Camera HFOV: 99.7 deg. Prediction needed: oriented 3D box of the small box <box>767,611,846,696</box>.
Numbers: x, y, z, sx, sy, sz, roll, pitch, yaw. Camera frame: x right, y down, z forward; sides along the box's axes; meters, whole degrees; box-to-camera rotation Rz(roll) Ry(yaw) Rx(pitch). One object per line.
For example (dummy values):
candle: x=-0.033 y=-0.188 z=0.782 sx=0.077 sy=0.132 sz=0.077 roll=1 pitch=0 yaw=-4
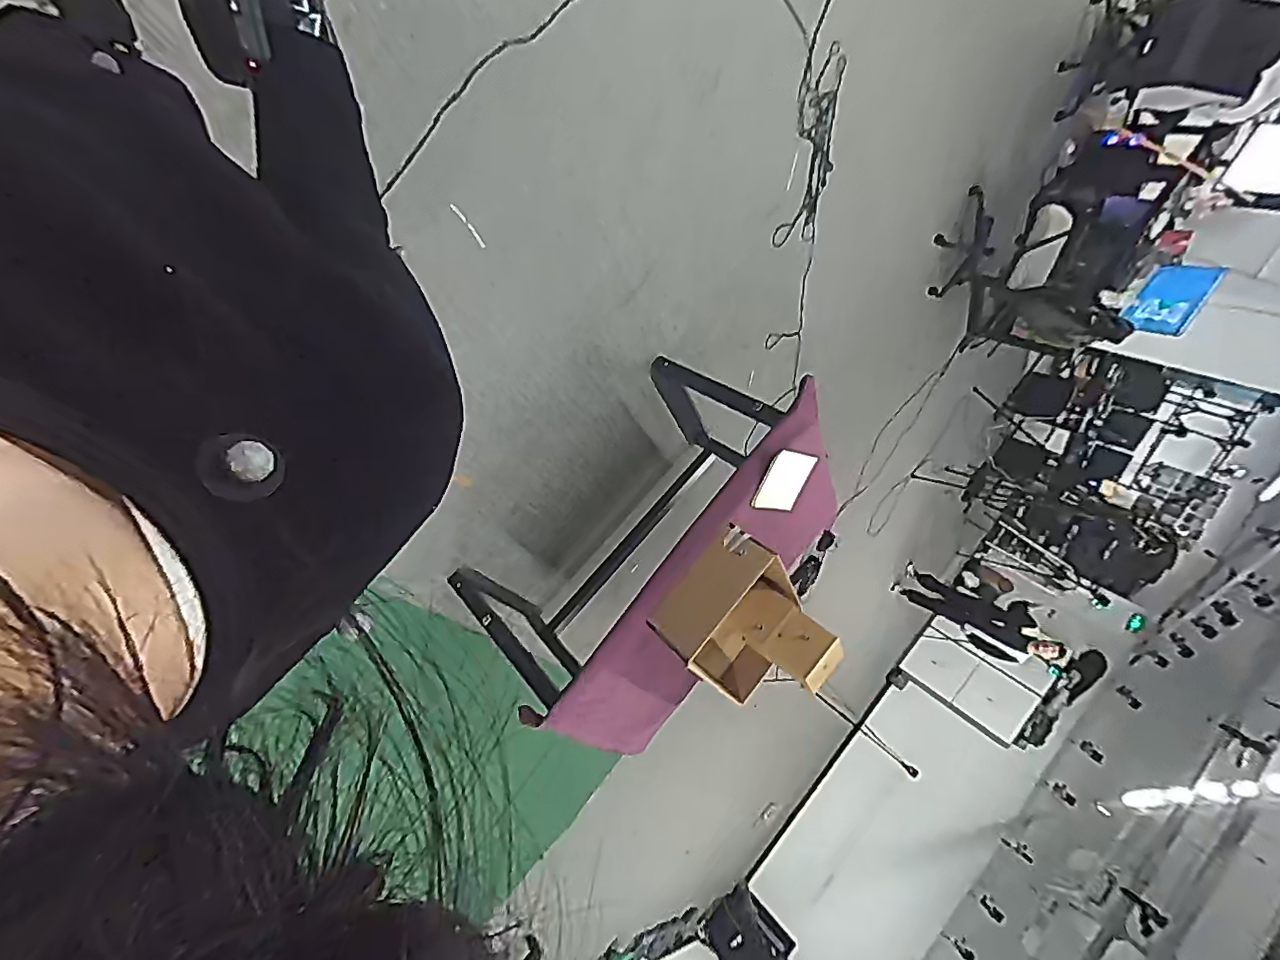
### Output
small box: x=0.520 y=0.538 z=1.699 sx=0.168 sy=0.176 sz=0.179 roll=-47 pitch=139 yaw=-11
